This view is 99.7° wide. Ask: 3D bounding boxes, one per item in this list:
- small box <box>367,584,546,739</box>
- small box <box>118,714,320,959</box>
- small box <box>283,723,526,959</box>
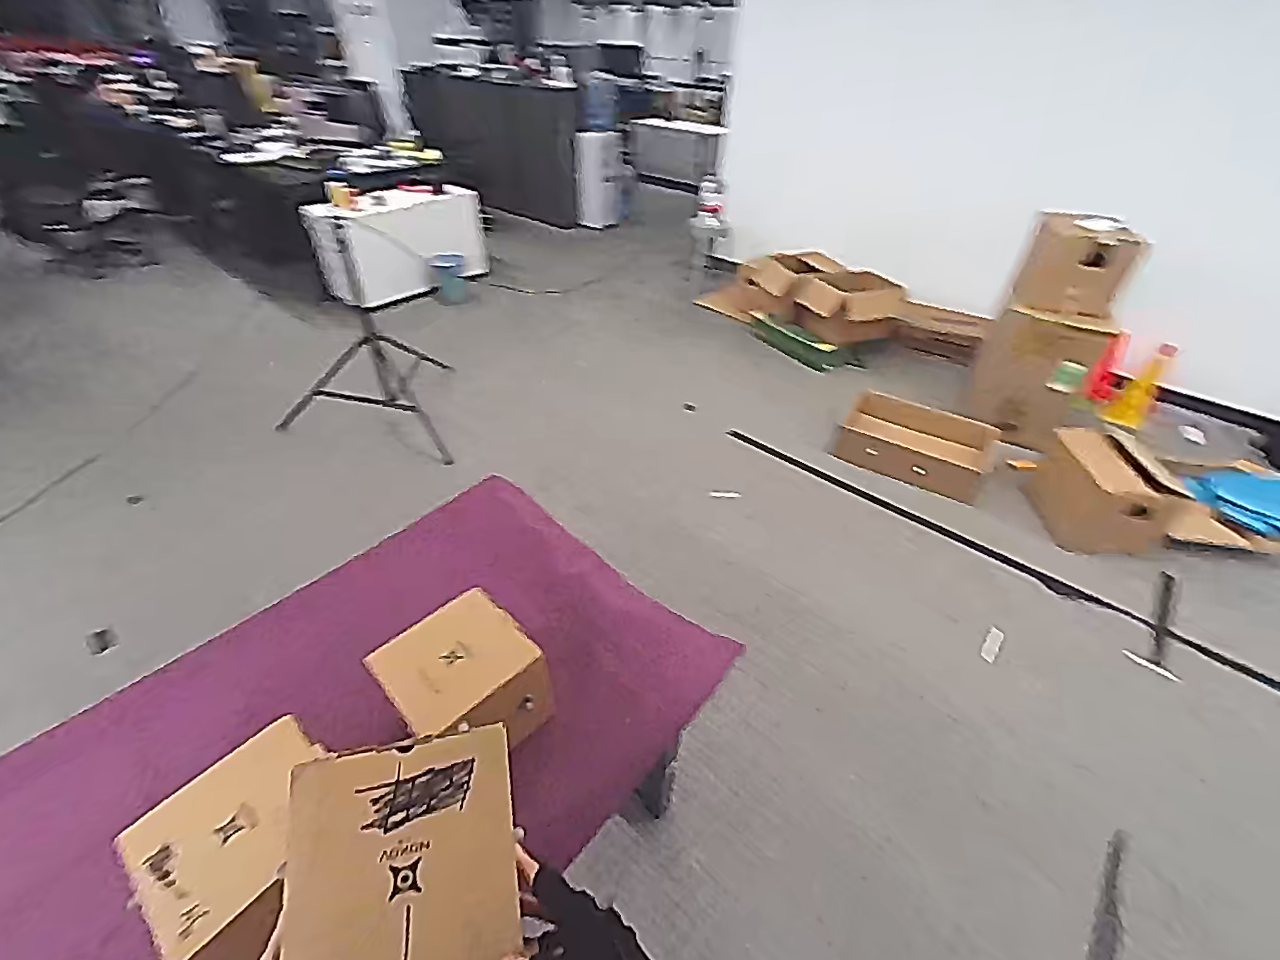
[{"bbox_3d":[-0.249,0.291,0.773,0.168,0.176,0.179,32,50,33],"label":"small box"},{"bbox_3d":[-0.420,0.418,0.614,0.168,0.176,0.179,29,46,29],"label":"small box"},{"bbox_3d":[-0.197,0.326,0.479,0.168,0.176,0.179,0,63,-19],"label":"small box"}]
